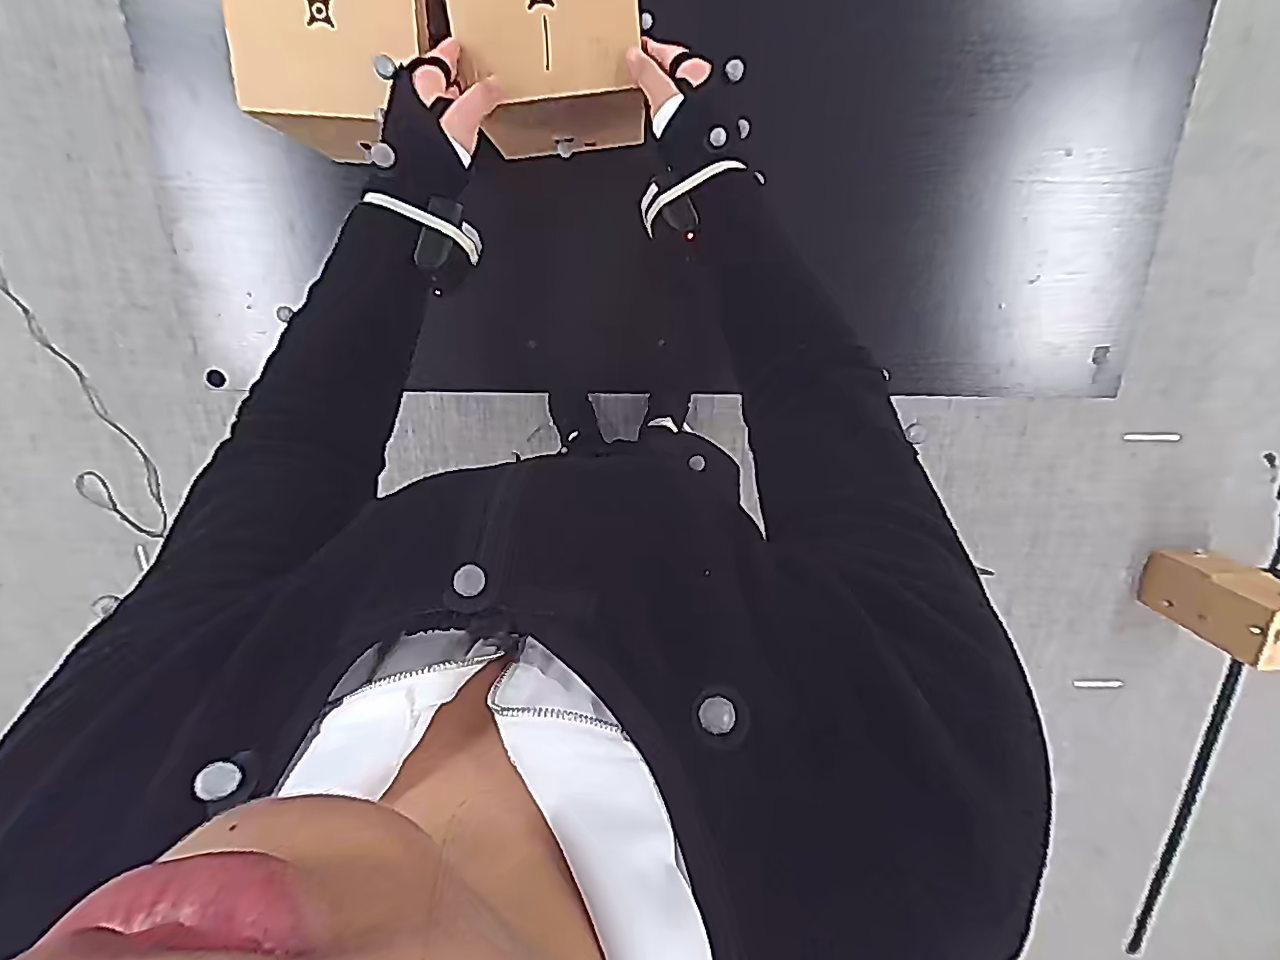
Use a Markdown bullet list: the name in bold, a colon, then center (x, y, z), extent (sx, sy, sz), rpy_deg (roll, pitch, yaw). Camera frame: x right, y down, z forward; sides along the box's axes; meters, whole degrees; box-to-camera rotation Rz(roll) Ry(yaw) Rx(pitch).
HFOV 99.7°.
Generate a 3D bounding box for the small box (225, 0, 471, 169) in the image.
- **small box**: center (-0.274, -0.430, 0.541), extent (0.168, 0.176, 0.179), rpy_deg (2, 106, -2)

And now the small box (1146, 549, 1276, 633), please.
- **small box**: center (1.583, 0.308, 1.513), extent (0.168, 0.176, 0.179), rpy_deg (-1, 106, -1)

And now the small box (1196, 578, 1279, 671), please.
- **small box**: center (1.582, 0.357, 1.357), extent (0.179, 0.176, 0.168), rpy_deg (-2, 107, -1)
